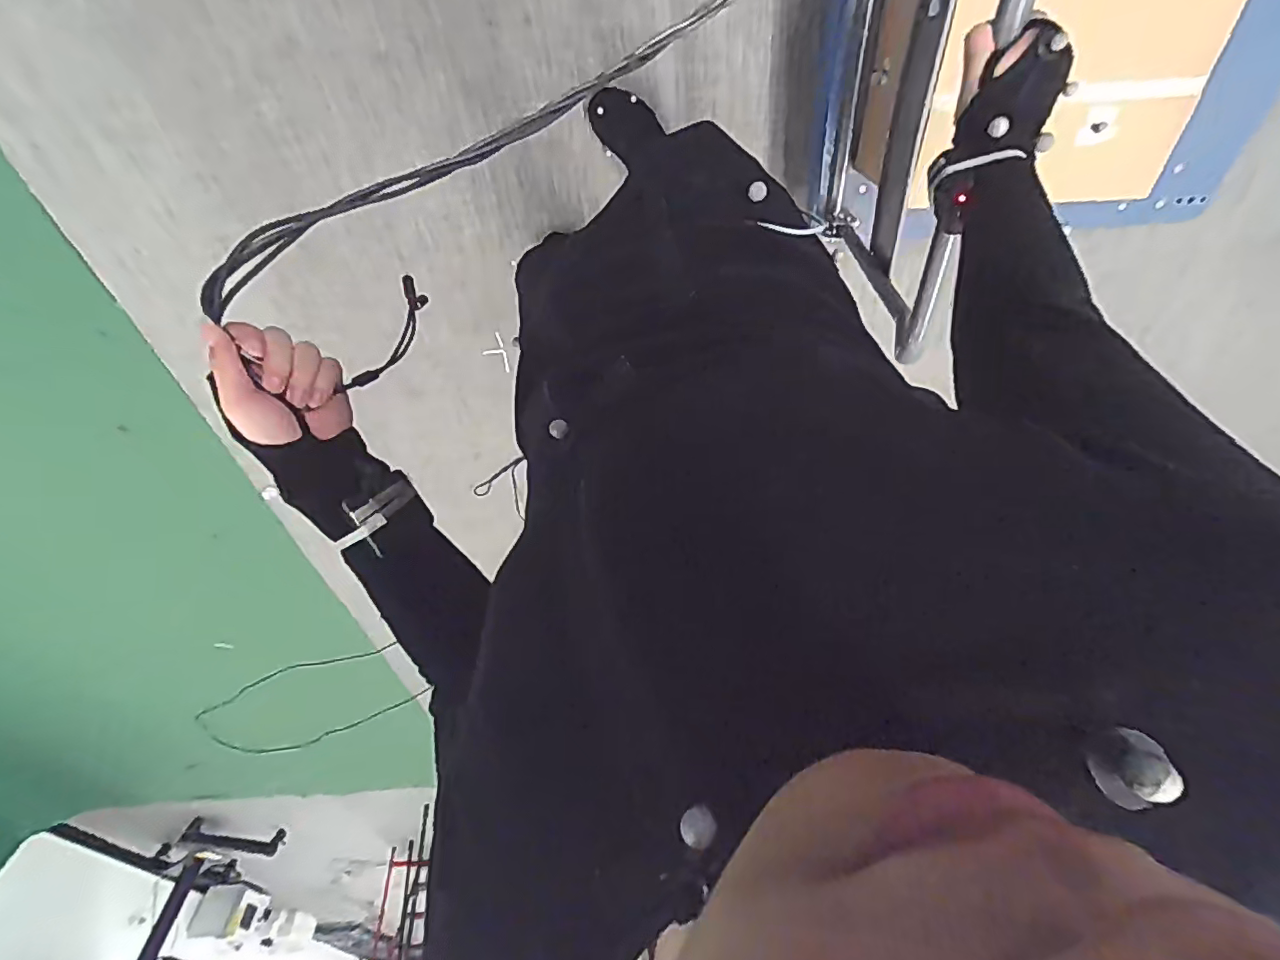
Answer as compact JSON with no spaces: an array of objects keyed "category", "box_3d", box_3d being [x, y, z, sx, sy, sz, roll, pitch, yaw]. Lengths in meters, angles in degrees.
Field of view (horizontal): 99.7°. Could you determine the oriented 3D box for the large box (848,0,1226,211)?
[{"category":"large box","box_3d":[0.631,-0.688,0.947,0.408,0.320,0.320,-2,131,1]}]
